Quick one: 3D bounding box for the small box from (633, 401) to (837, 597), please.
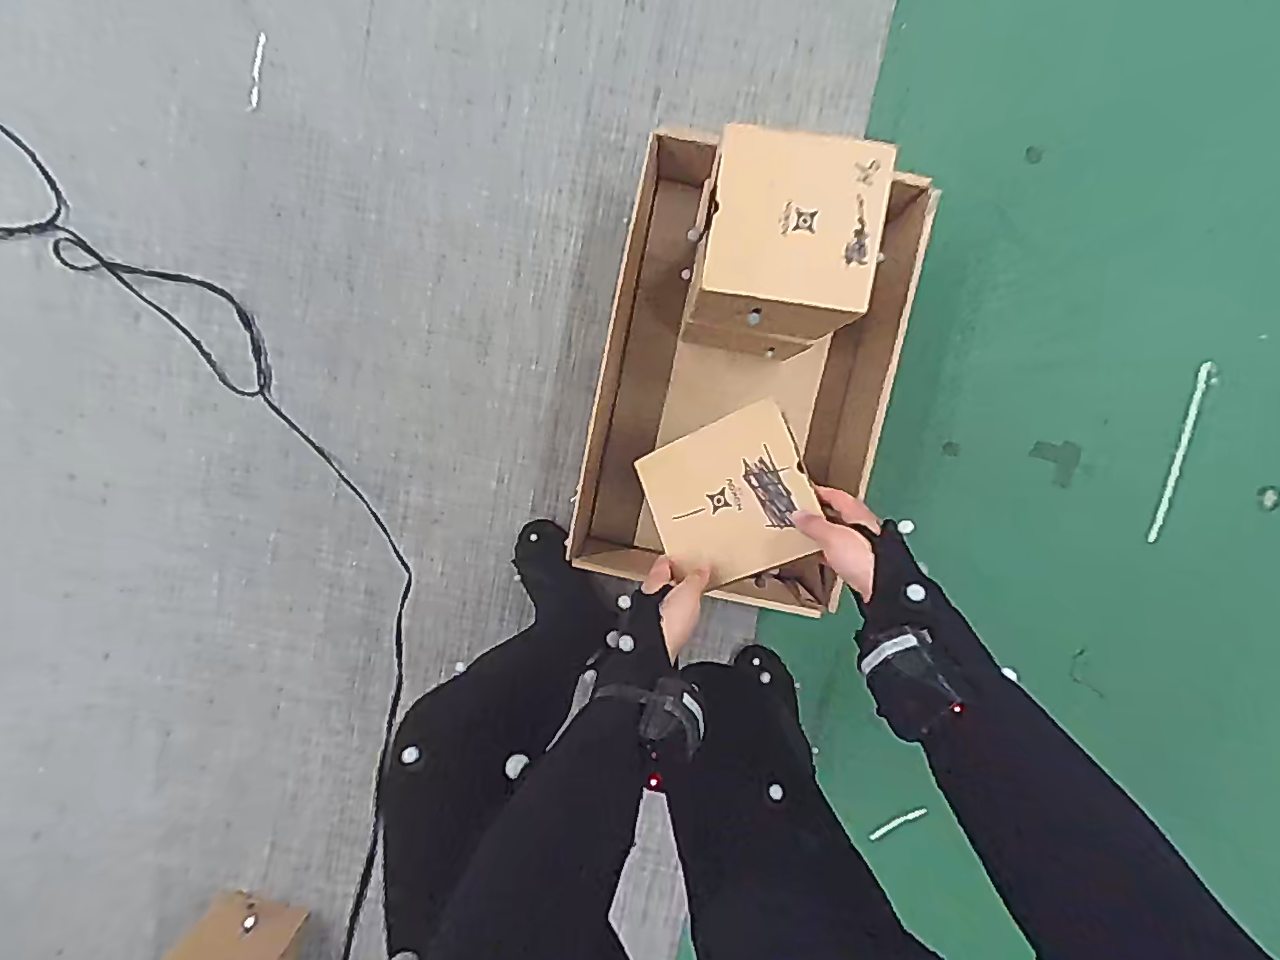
[{"bbox_3d":[0.117,0.028,0.642,0.179,0.176,0.168,-22,77,15],"label":"small box"}]

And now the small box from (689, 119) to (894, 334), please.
[{"bbox_3d":[0.155,-0.272,0.618,0.179,0.176,0.168,9,96,1],"label":"small box"}]

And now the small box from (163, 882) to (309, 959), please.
[{"bbox_3d":[-0.737,0.889,0.977,0.168,0.176,0.179,17,96,-2],"label":"small box"}]
